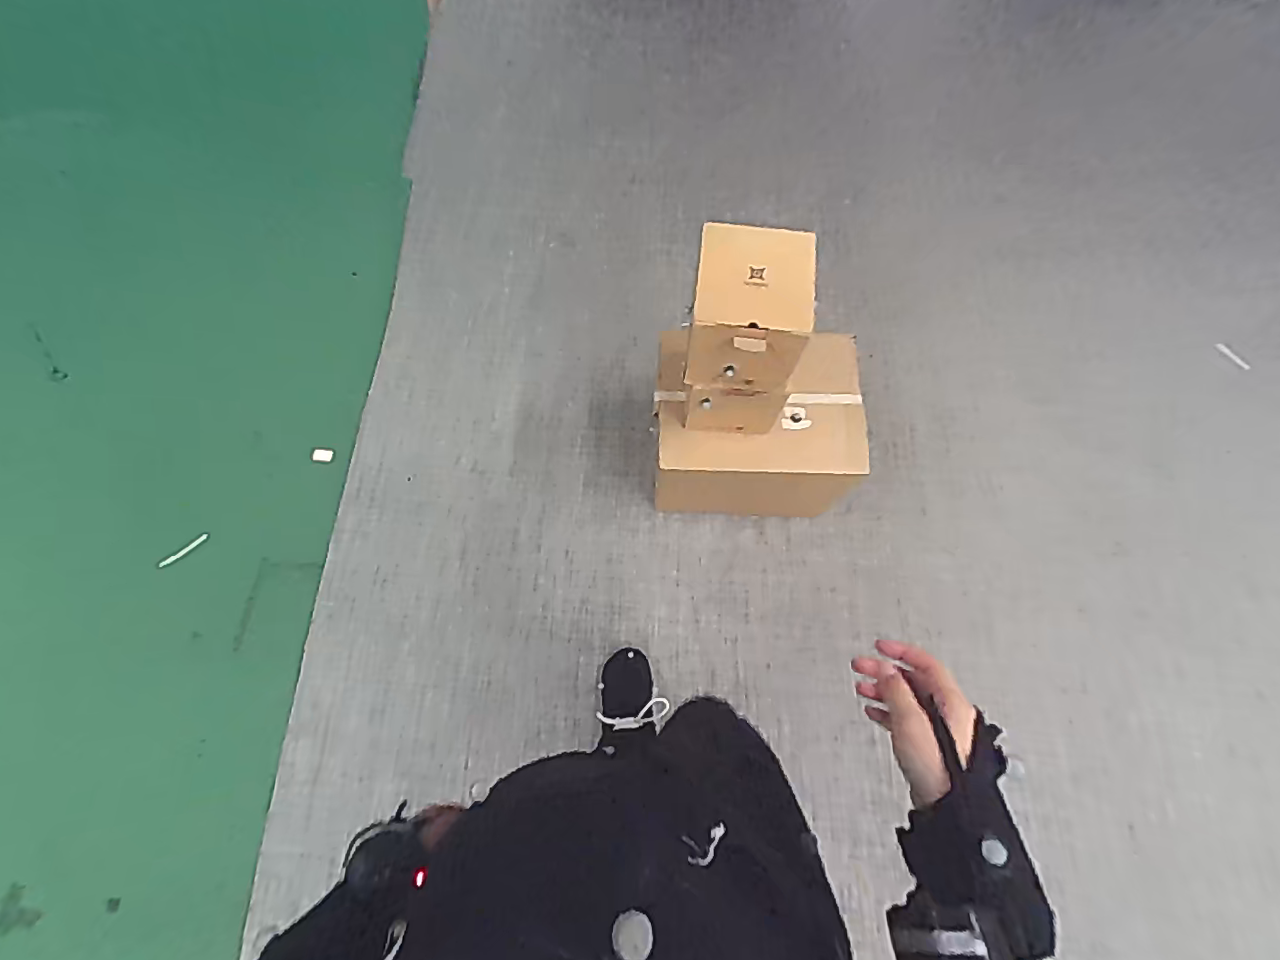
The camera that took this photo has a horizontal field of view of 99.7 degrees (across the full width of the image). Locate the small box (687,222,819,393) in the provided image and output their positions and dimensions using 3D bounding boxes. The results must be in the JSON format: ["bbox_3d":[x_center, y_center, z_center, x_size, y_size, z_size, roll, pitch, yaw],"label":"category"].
[{"bbox_3d":[0.165,-0.258,0.830,0.168,0.176,0.179,7,72,2],"label":"small box"}]

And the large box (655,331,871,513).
[{"bbox_3d":[0.240,-0.113,1.210,0.408,0.320,0.320,2,72,0],"label":"large box"}]
